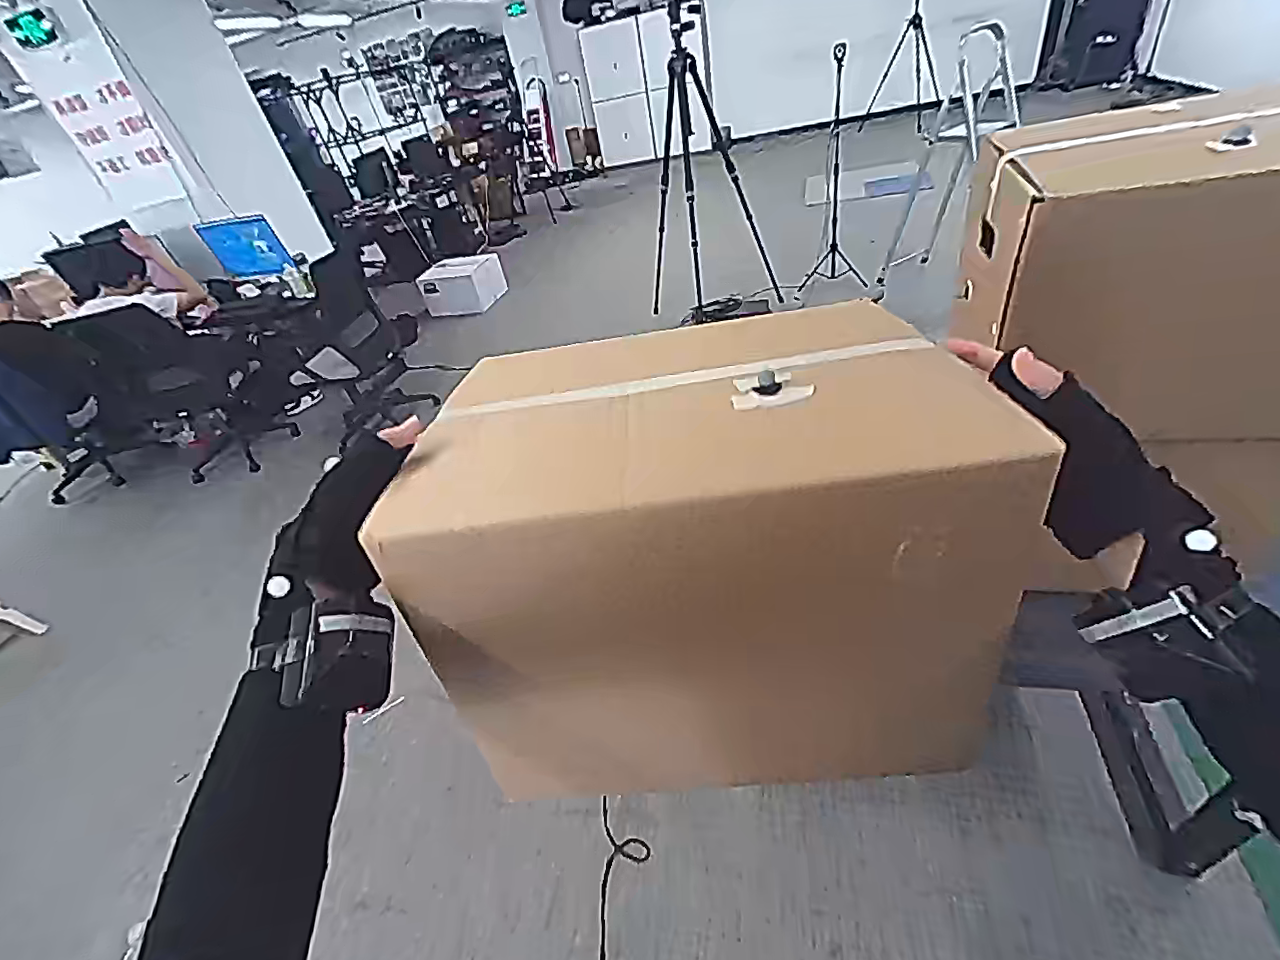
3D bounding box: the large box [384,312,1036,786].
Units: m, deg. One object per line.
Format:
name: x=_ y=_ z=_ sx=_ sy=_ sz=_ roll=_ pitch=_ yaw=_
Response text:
large box: x=0.053 y=0.053 z=0.525 sx=0.408 sy=0.320 sz=0.320 roll=-6 pitch=32 yaw=5
